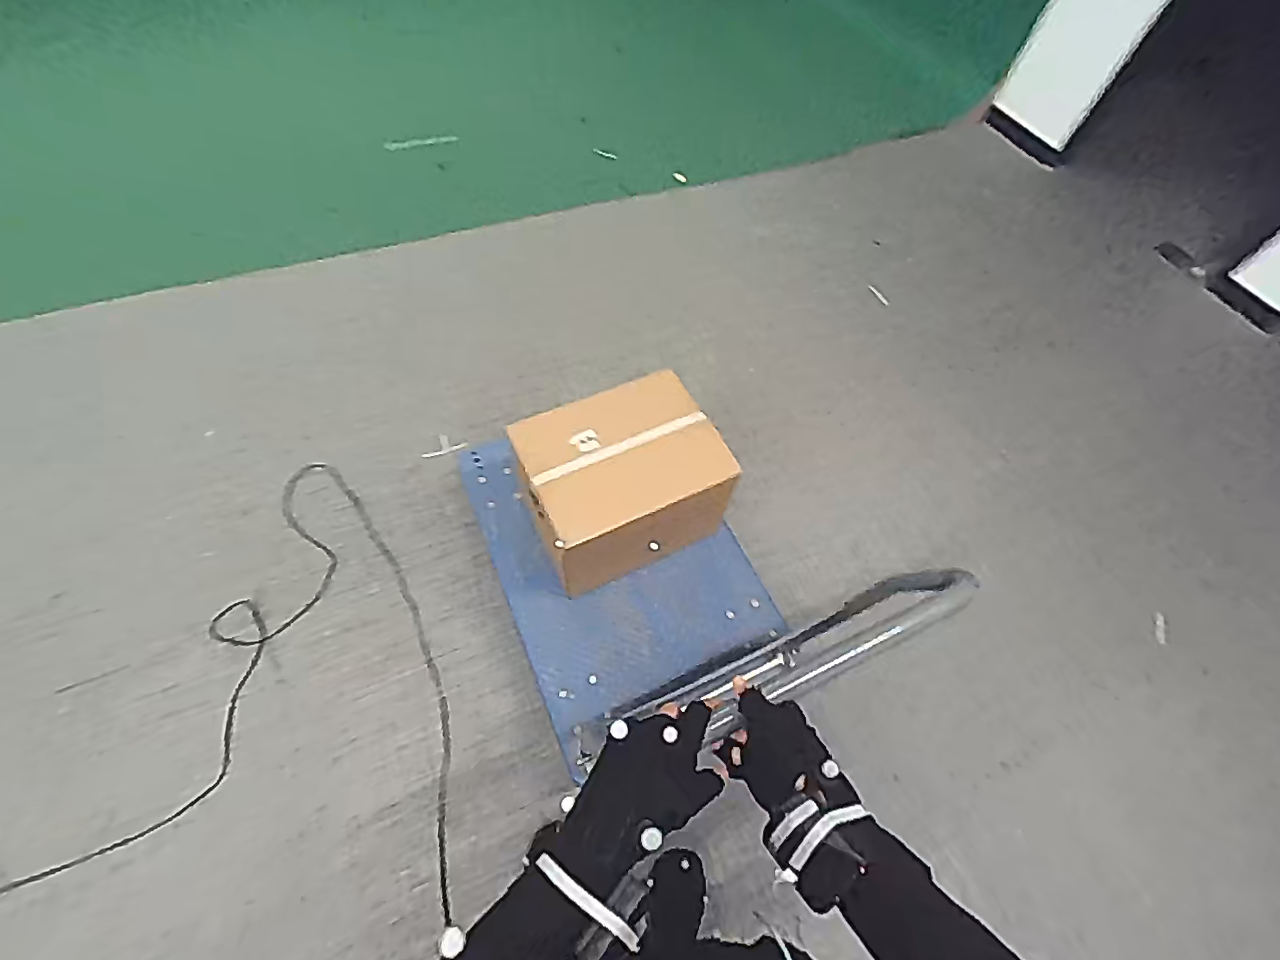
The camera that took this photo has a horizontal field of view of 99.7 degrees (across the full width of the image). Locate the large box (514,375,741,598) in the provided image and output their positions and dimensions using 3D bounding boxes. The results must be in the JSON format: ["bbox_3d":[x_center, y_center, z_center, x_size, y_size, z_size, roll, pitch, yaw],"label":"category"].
[{"bbox_3d":[-0.036,0.020,1.269,0.408,0.320,0.320,-23,63,-16],"label":"large box"}]
